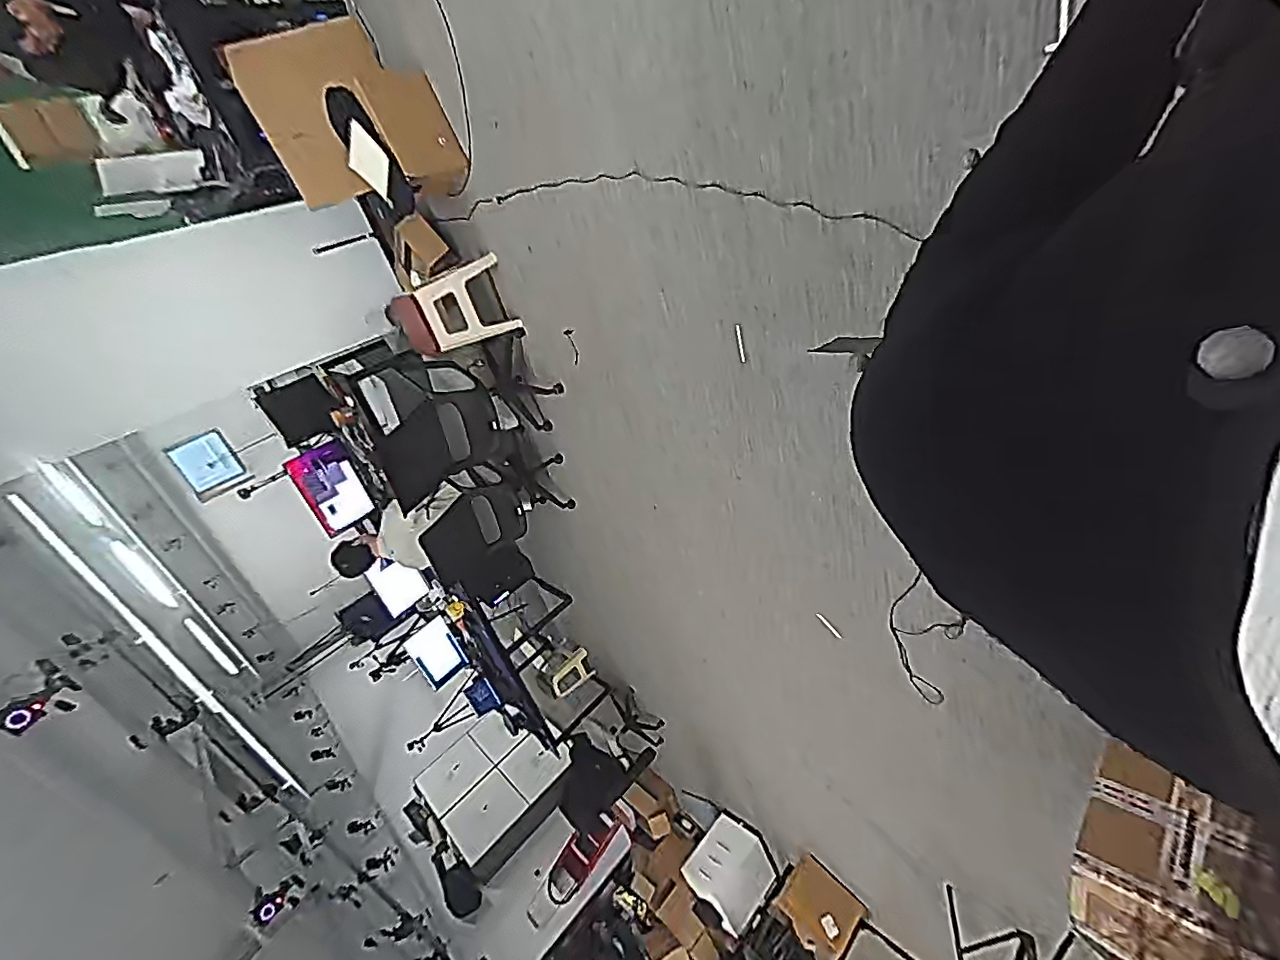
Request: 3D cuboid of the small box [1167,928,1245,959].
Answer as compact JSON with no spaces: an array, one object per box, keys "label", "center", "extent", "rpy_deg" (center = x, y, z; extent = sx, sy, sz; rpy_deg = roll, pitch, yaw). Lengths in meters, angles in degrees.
[{"label":"small box","center":[1.327,1.200,1.240],"extent":[0.168,0.176,0.179],"rpy_deg":[13,126,44]}]
